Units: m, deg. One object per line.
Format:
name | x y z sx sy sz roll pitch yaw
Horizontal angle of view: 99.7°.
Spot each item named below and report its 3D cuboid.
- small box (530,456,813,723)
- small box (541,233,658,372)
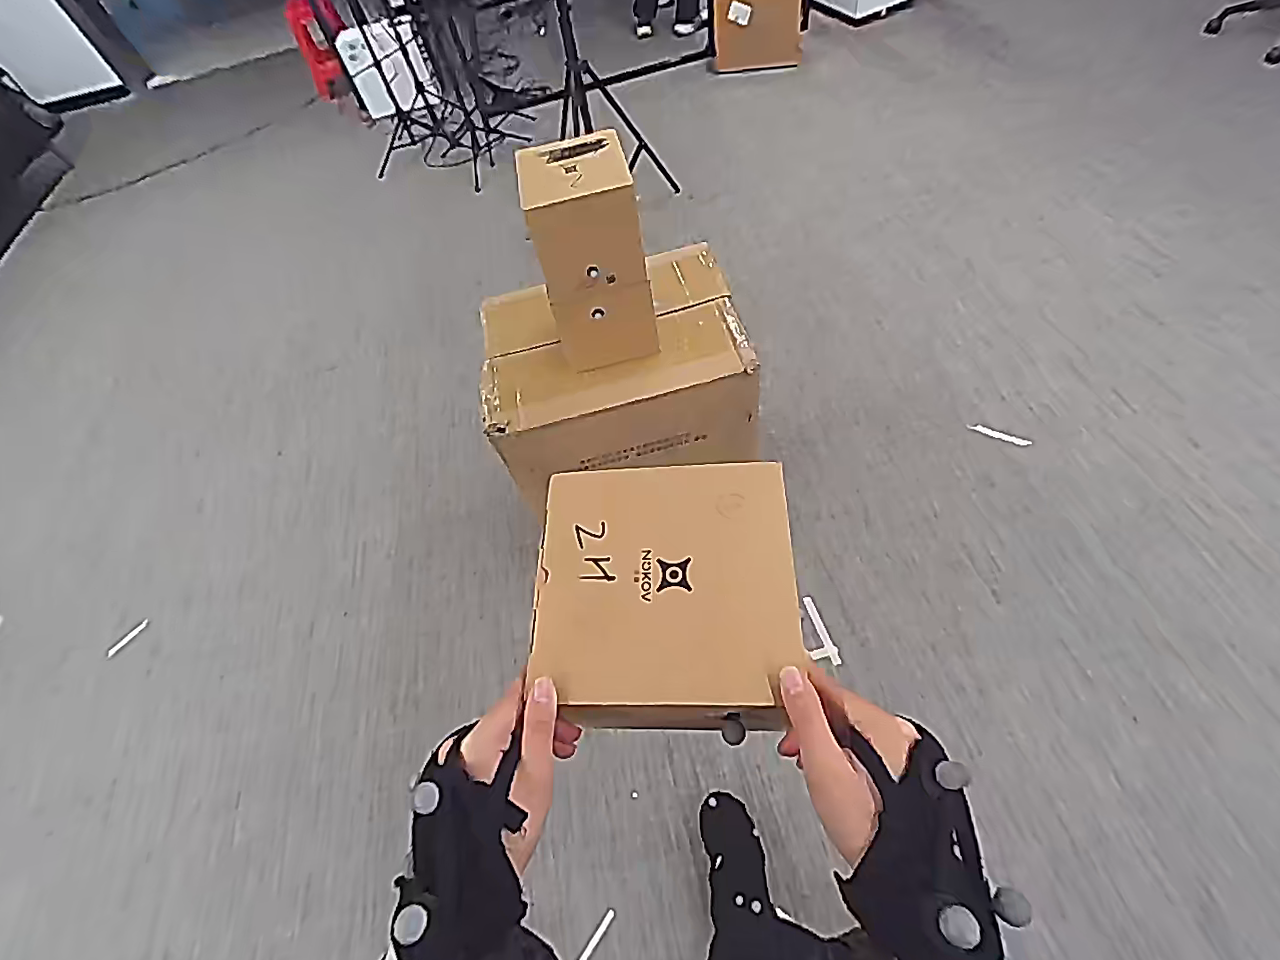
small box | 0.030 0.096 0.434 0.179 0.176 0.168 -4 60 9
small box | -0.074 -0.328 1.021 0.179 0.176 0.168 -13 56 1
